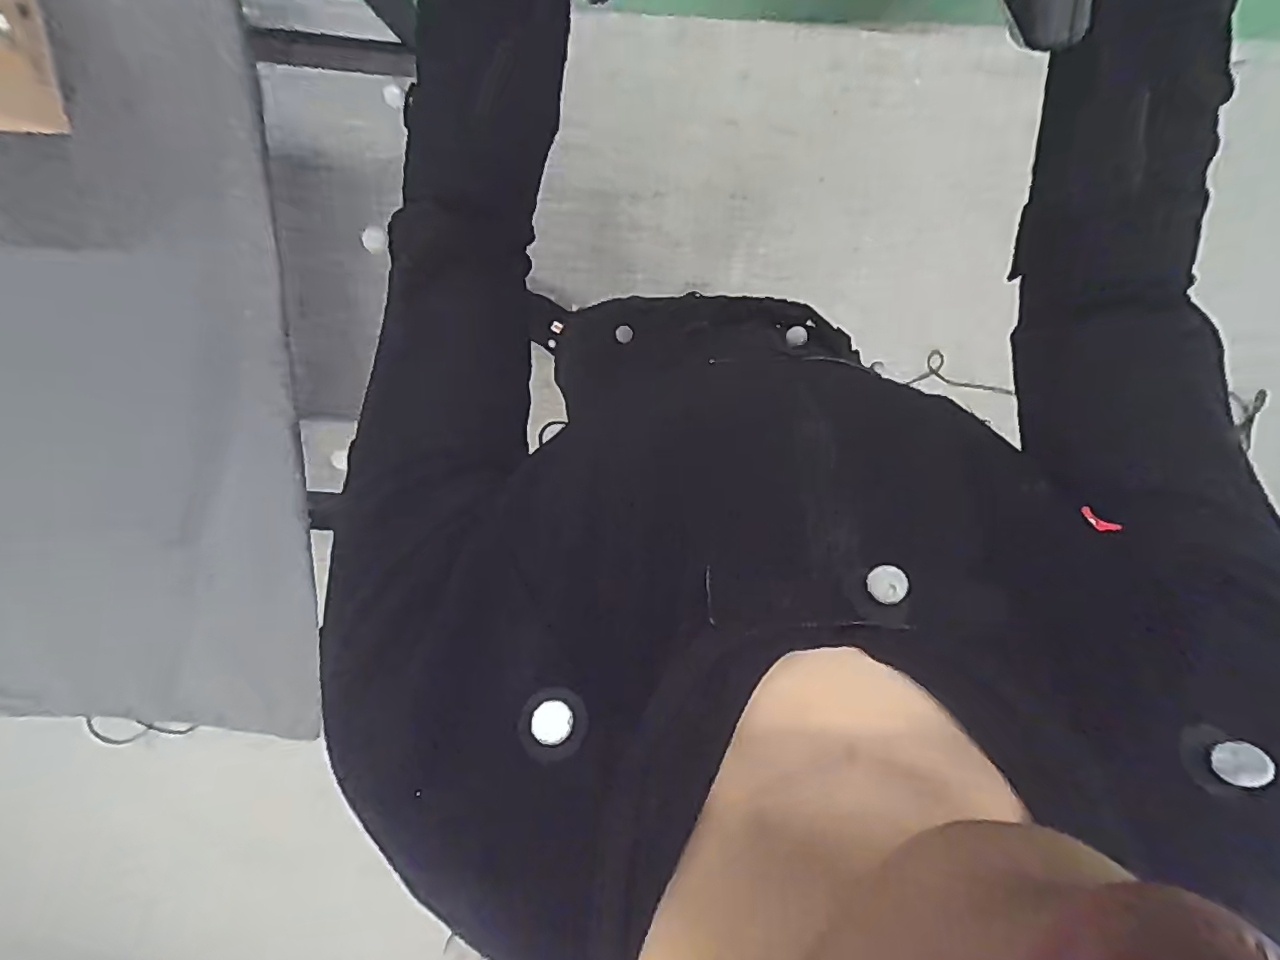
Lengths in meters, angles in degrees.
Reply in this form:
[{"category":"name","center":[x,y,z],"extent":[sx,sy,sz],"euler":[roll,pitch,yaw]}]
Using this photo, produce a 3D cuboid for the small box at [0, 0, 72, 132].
[{"category":"small box","center":[-0.705,-0.440,0.496],"extent":[0.179,0.176,0.168],"euler":[3,109,-1]}]
